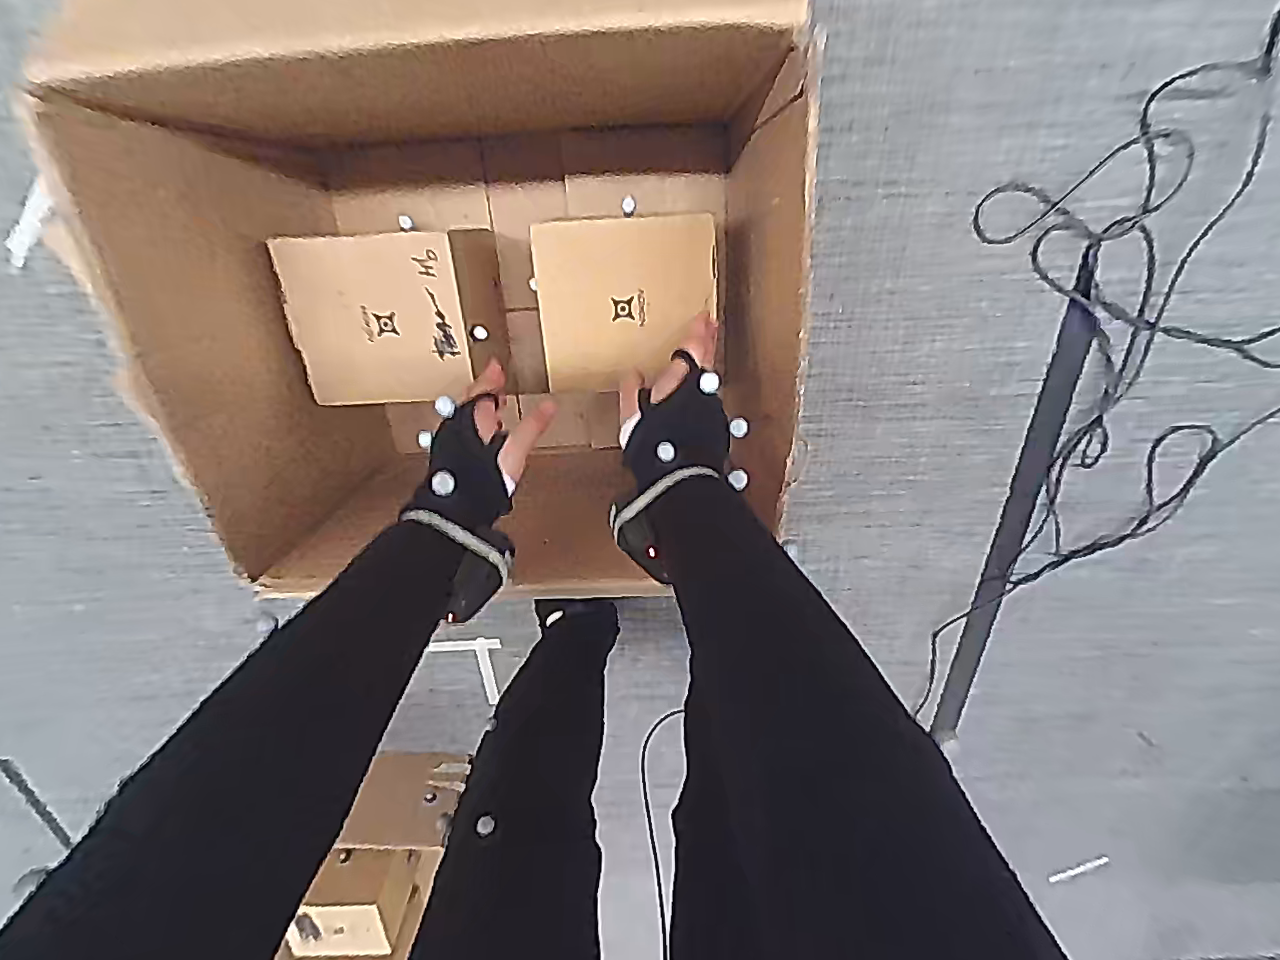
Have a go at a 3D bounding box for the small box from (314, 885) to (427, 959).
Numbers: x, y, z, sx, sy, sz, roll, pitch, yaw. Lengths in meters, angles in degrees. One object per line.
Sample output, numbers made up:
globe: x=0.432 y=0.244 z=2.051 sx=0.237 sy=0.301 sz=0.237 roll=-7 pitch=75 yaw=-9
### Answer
small box: x=-0.562 y=0.995 z=1.138 sx=0.168 sy=0.176 sz=0.179 roll=1 pitch=113 yaw=-4
